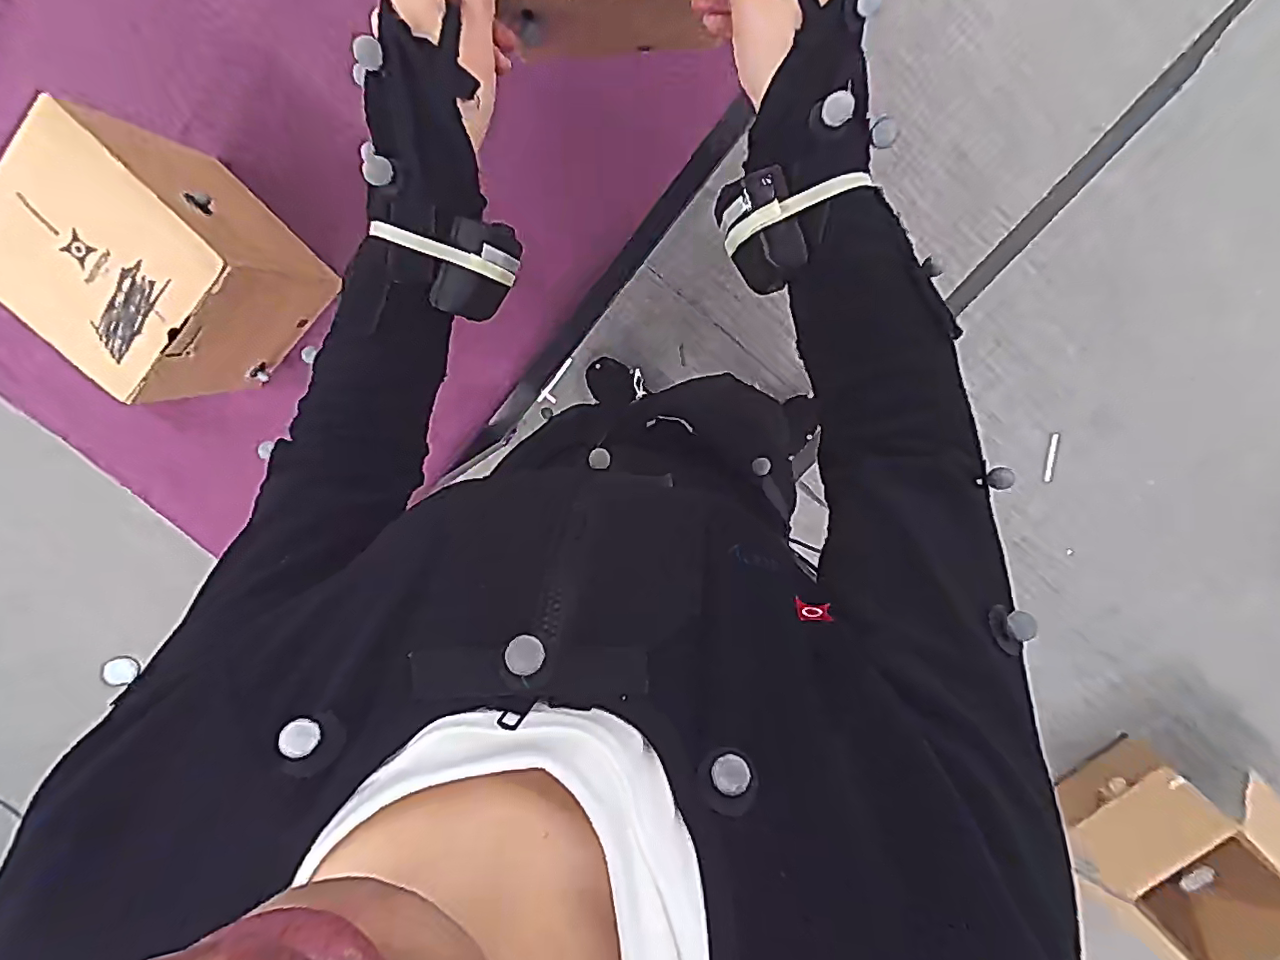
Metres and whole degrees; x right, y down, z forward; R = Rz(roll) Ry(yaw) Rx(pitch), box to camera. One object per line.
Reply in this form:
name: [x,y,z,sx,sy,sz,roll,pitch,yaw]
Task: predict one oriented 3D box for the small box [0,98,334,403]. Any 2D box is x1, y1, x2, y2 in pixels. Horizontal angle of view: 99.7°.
small box: [-0.443,-0.199,0.515,0.168,0.176,0.179,-43,99,11]
